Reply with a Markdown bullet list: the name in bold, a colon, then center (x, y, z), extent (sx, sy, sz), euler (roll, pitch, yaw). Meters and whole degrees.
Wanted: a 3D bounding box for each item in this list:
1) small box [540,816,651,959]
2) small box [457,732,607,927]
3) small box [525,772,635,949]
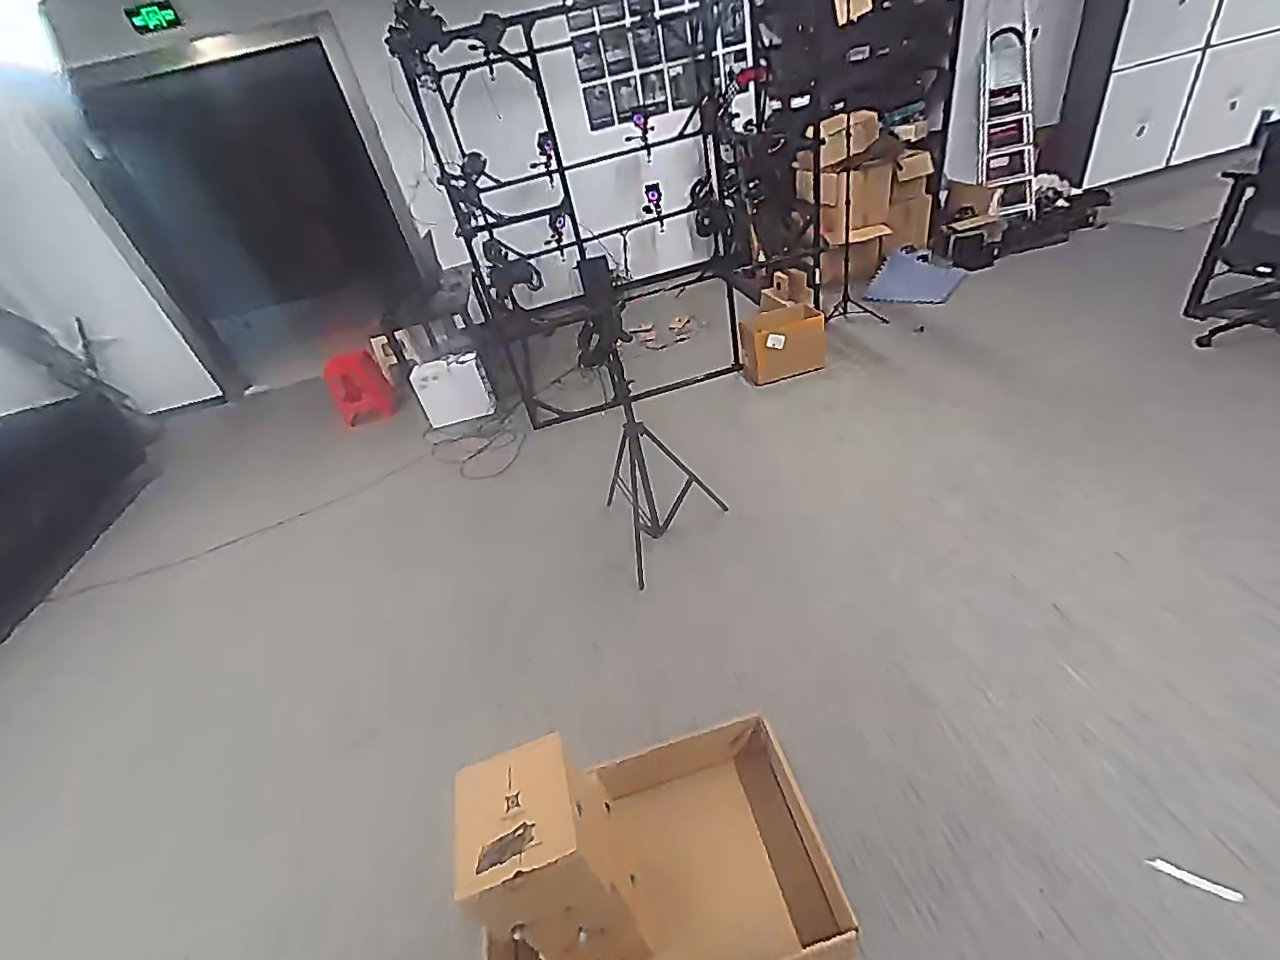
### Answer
- **small box**: center (-0.088, 0.770, 1.003), extent (0.168, 0.176, 0.179), euler (-17, 36, -4)
- **small box**: center (-0.158, 0.520, 0.800), extent (0.168, 0.176, 0.179), euler (-19, 36, -6)
- **small box**: center (-0.117, 0.637, 0.910), extent (0.168, 0.176, 0.179), euler (-18, 36, -4)
